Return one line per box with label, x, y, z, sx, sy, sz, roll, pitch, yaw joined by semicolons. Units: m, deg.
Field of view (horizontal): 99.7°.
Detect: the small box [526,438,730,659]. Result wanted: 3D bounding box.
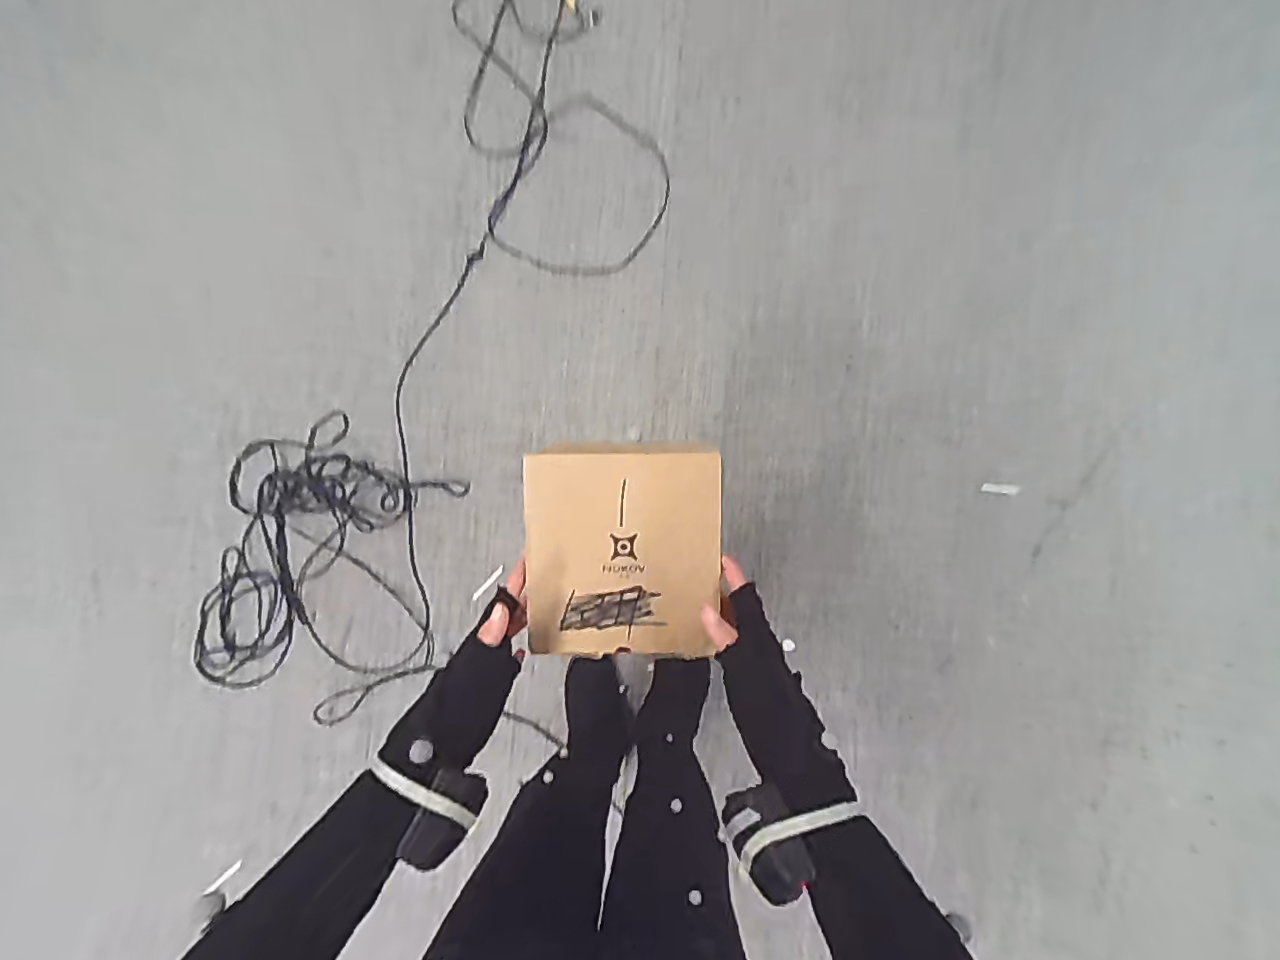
small box;-0.008;0.053;0.519;0.168;0.176;0.179;0;97;1
